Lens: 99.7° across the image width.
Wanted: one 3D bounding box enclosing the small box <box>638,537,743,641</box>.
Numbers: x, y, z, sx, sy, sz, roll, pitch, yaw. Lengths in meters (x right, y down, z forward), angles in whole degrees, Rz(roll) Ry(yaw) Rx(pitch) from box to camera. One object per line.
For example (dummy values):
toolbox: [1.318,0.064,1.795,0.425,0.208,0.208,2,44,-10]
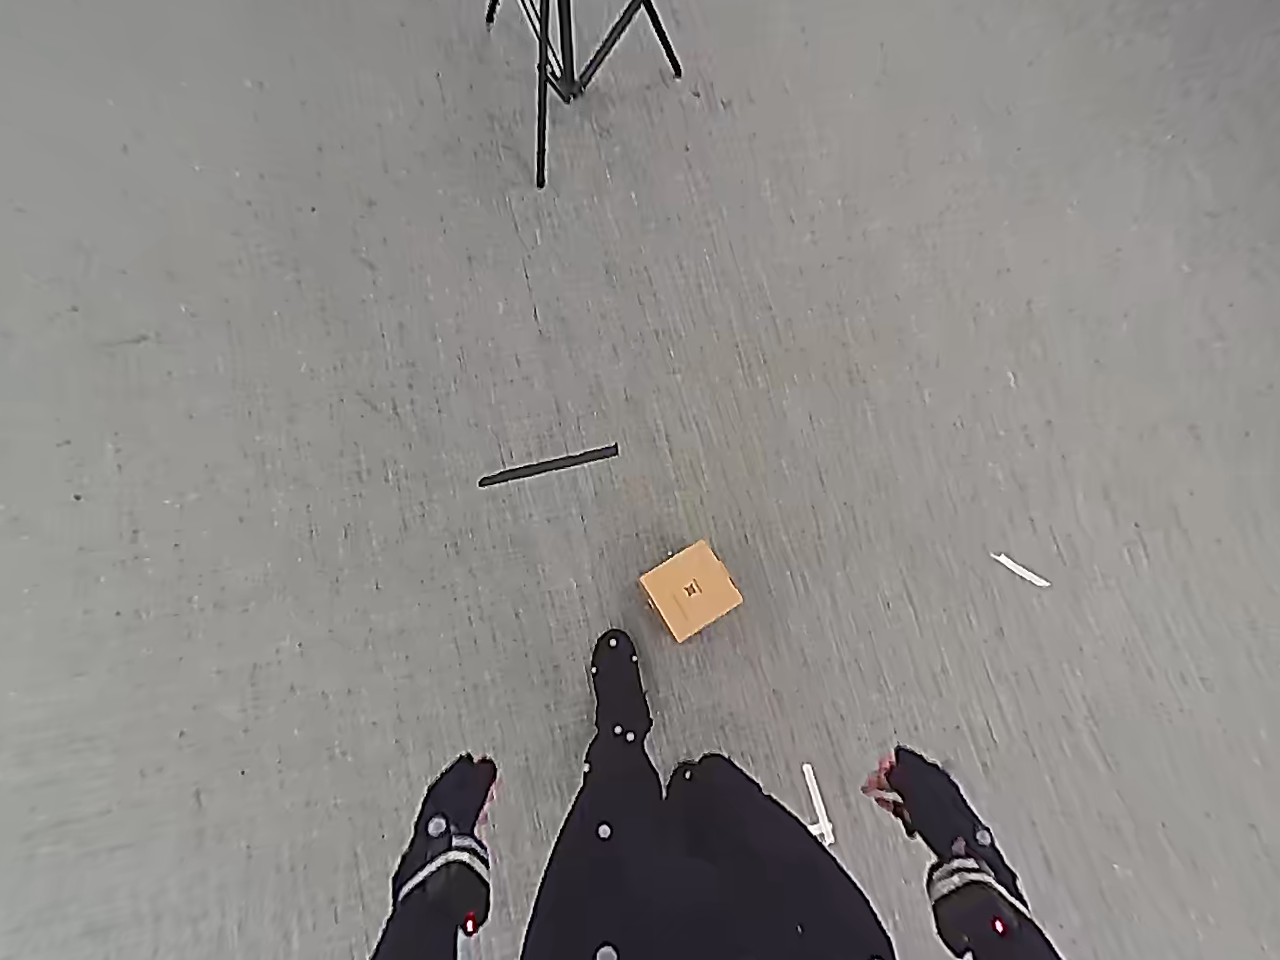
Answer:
small box: [0.107,0.253,1.262,0.179,0.176,0.168,-31,81,-9]
